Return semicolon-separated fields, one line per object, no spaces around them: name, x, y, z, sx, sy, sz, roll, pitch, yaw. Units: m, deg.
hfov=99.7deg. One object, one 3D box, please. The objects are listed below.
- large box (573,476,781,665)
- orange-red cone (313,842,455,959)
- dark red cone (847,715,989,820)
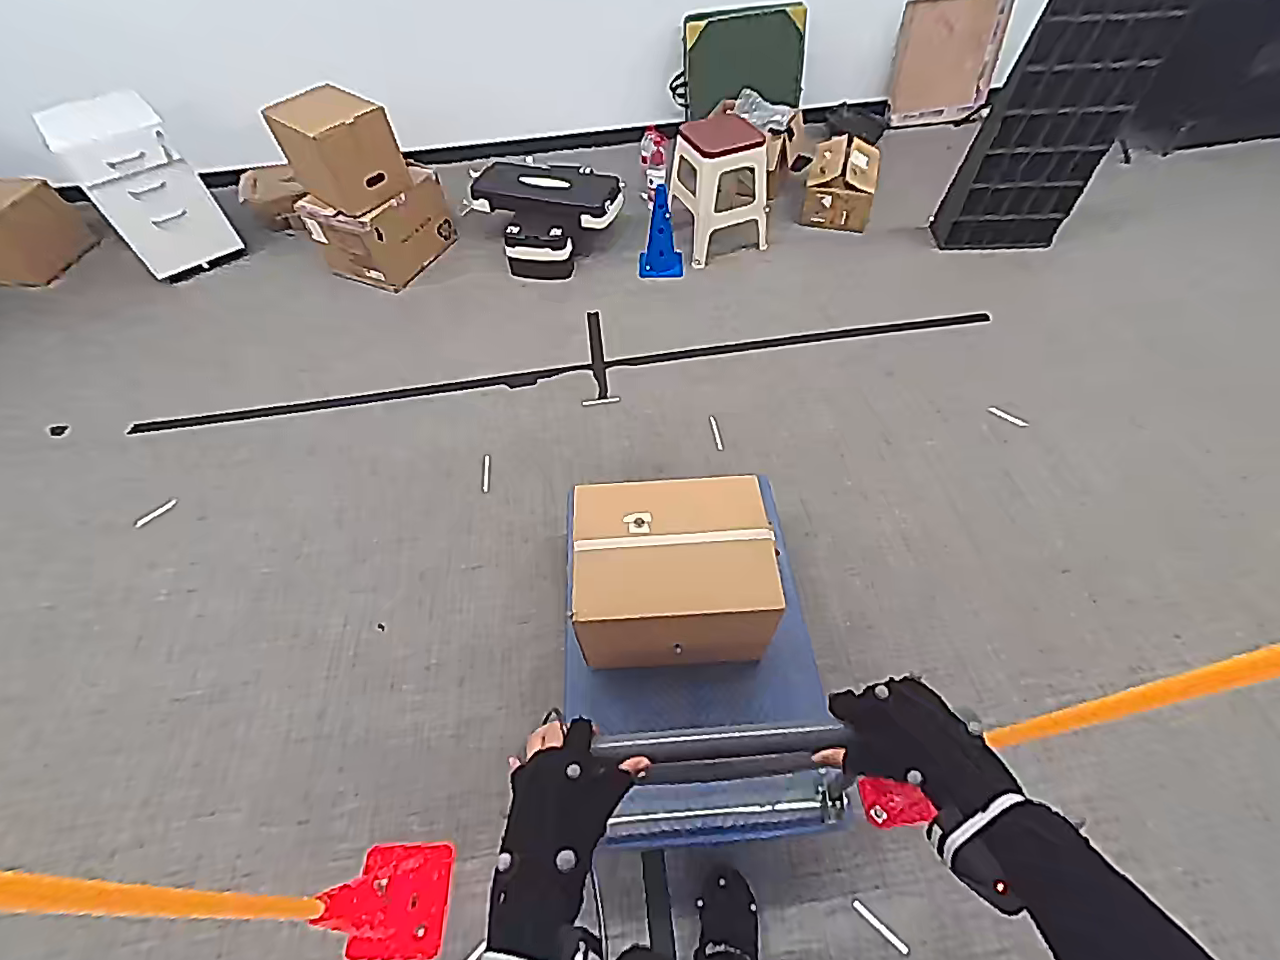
large box;0.069;0.214;1.227;0.408;0.320;0.320;-4;54;0
orange-red cone;-0.512;0.791;1.021;0.198;0.360;0.199;-1;53;1
dark red cone;0.596;0.562;1.108;0.201;0.394;0.202;-6;55;-4
